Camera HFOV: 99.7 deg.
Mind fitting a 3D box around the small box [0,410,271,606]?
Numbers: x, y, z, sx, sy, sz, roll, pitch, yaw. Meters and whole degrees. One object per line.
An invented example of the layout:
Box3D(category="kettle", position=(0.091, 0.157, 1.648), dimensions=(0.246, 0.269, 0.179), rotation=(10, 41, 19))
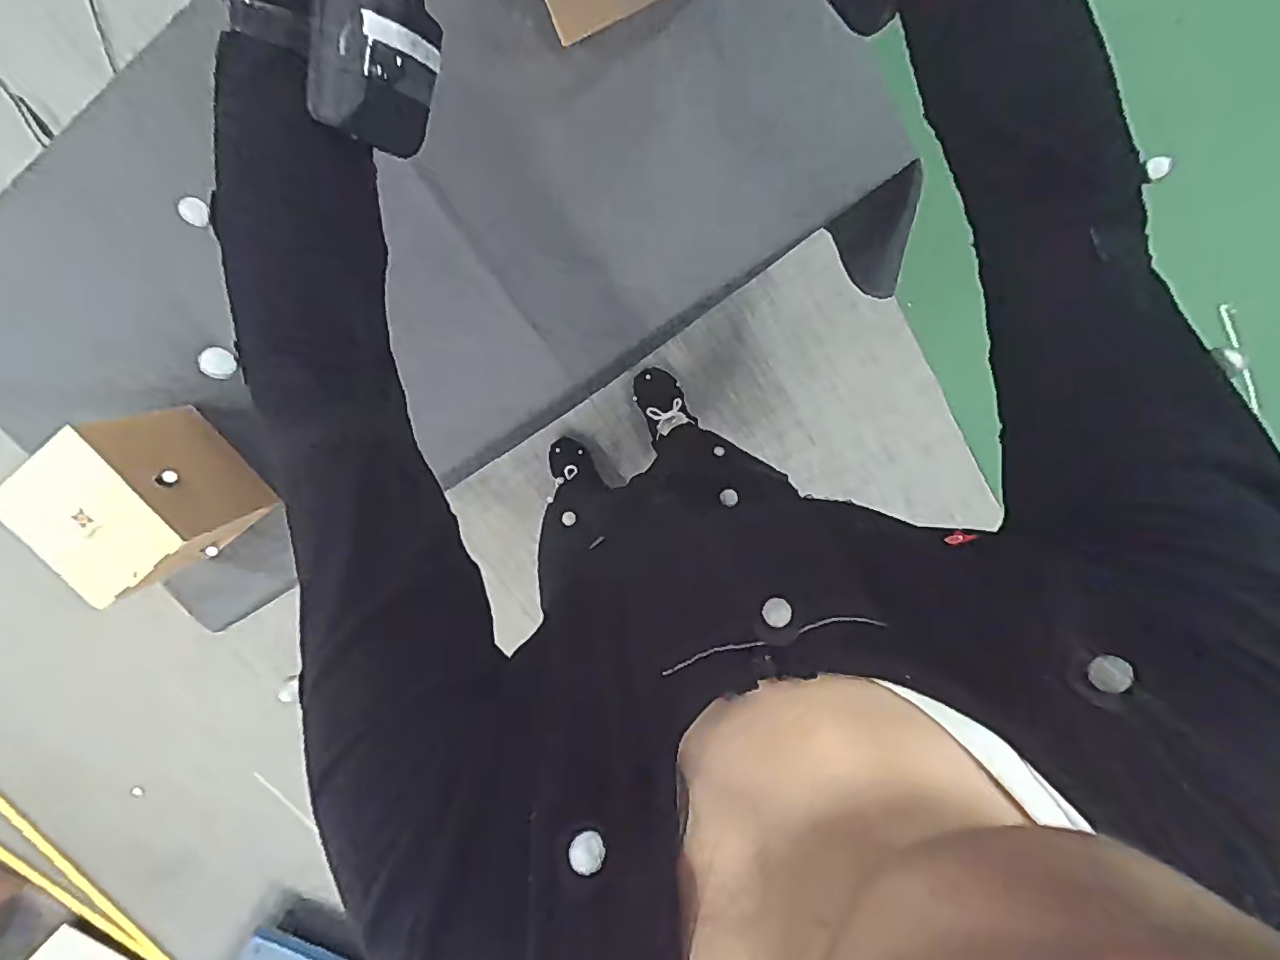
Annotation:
Box3D(category="small box", position=(-0.646, 0.023, 0.704), dimensions=(0.168, 0.176, 0.179), rotation=(-34, 103, 11))

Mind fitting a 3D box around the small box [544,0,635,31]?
Box3D(category="small box", position=(-0.043, -0.573, 0.499), dimensions=(0.179, 0.176, 0.168), rotation=(-20, 106, 8))
